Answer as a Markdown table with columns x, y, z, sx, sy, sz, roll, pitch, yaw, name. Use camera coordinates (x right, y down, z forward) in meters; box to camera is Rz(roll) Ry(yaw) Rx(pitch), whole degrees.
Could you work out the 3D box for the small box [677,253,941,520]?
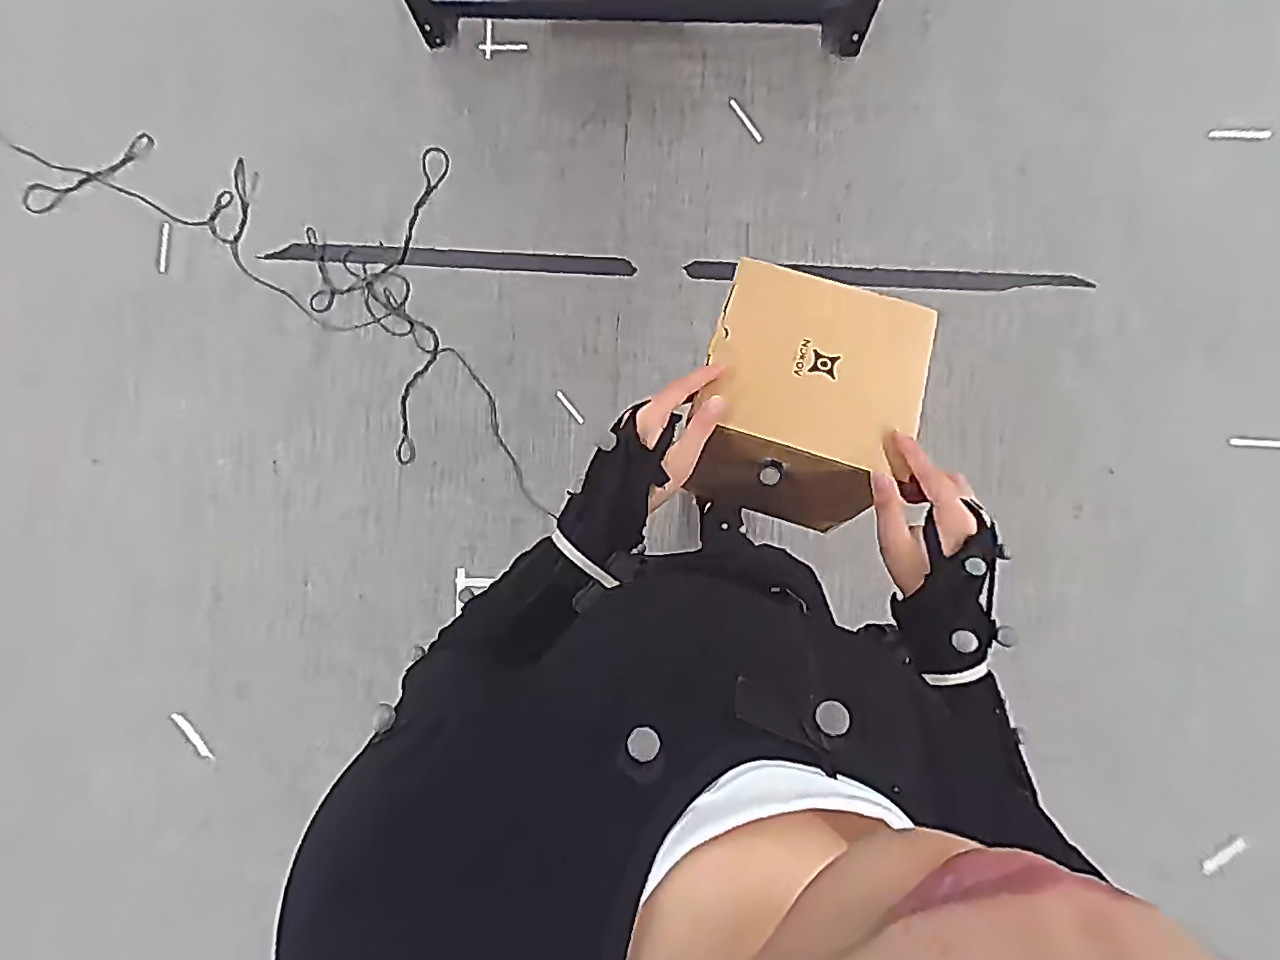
| x | y | z | sx | sy | sz | roll | pitch | yaw | name |
| --- | --- | --- | --- | --- | --- | --- | --- | --- | --- |
| 0.144 | -0.073 | 0.510 | 0.179 | 0.176 | 0.168 | 17 | 72 | 5 | small box |
